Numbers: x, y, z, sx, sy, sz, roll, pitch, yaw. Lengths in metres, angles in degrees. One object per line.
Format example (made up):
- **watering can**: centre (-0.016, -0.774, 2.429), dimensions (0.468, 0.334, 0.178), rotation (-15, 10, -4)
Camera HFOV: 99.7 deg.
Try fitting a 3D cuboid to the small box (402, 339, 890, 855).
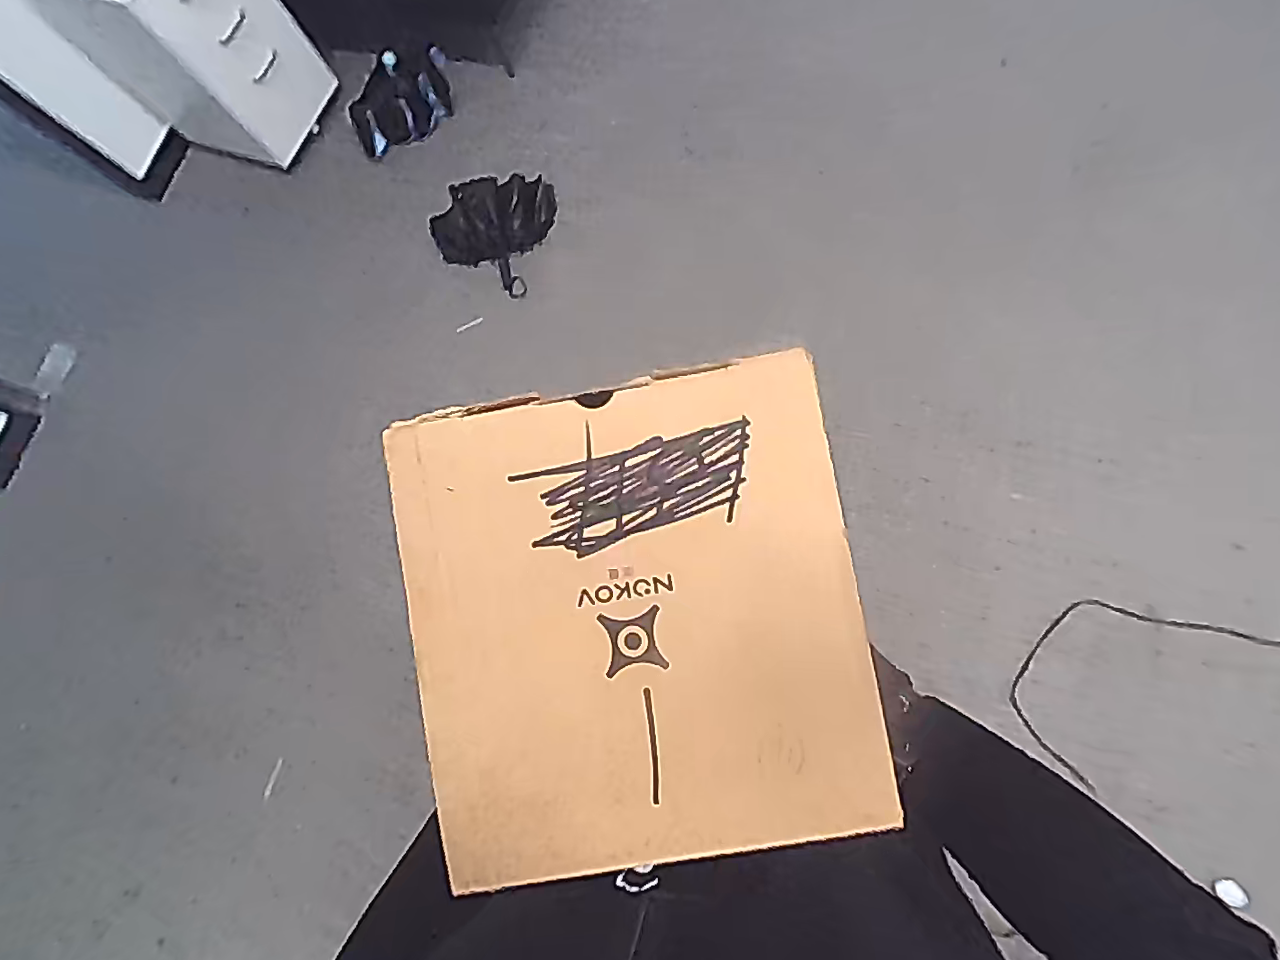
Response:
- **small box**: centre (0.001, 0.049, 0.286), dimensions (0.168, 0.176, 0.179), rotation (-10, 85, 2)
